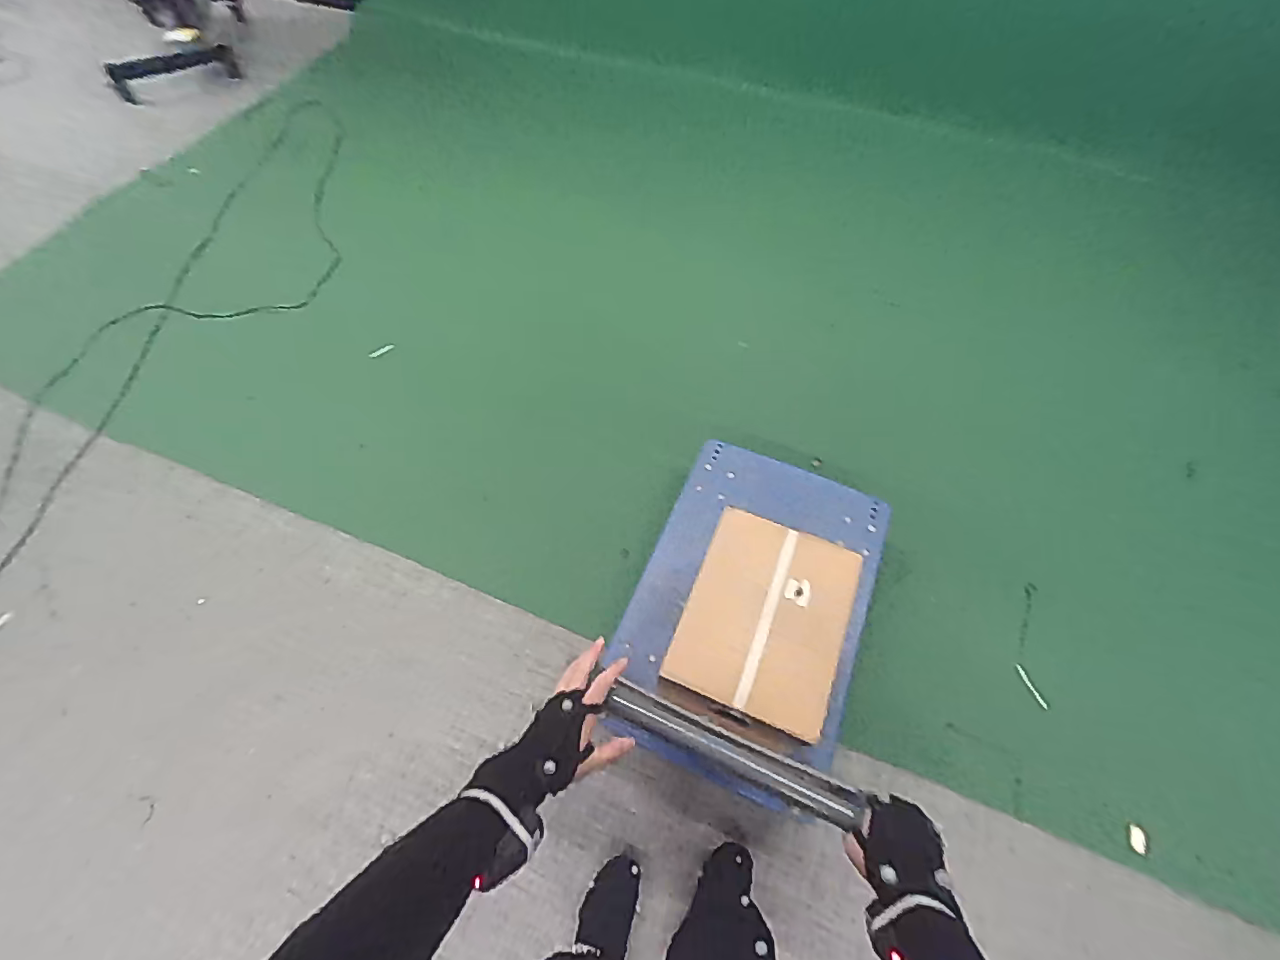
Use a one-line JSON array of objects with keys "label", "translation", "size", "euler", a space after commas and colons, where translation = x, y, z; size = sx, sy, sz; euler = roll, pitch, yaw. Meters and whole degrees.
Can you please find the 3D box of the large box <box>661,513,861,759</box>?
[{"label": "large box", "translation": [0.261, 0.356, 1.226], "size": [0.320, 0.320, 0.408], "euler": [21, 61, 11]}]
